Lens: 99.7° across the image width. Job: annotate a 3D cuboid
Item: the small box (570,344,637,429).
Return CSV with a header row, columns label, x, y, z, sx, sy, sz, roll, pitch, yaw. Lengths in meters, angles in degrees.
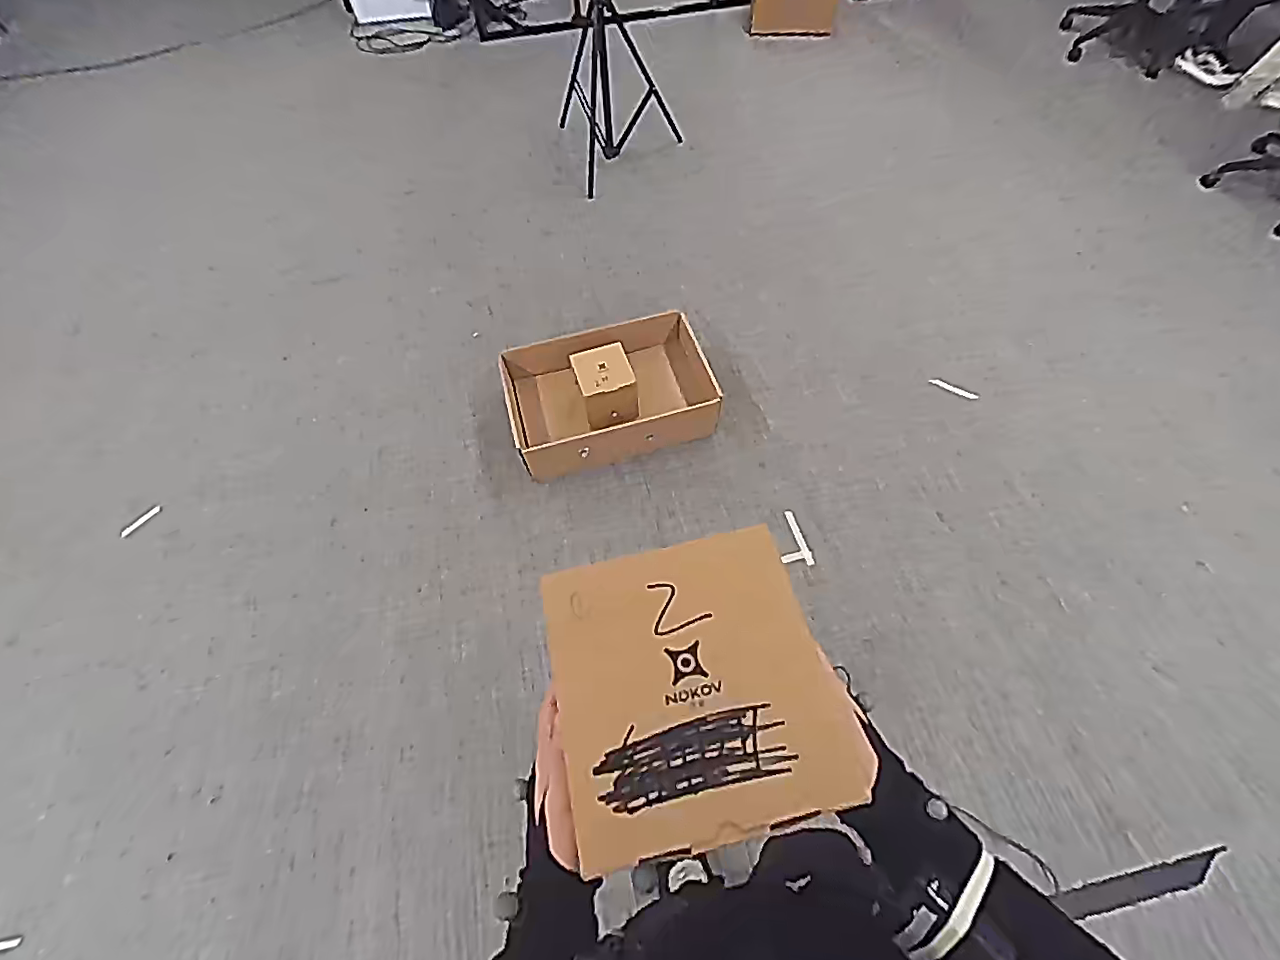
label,x,y,z,sx,sy,sz,roll,pitch,yaw
small box,-0.113,-0.291,1.692,0.168,0.176,0.179,-17,61,-8
